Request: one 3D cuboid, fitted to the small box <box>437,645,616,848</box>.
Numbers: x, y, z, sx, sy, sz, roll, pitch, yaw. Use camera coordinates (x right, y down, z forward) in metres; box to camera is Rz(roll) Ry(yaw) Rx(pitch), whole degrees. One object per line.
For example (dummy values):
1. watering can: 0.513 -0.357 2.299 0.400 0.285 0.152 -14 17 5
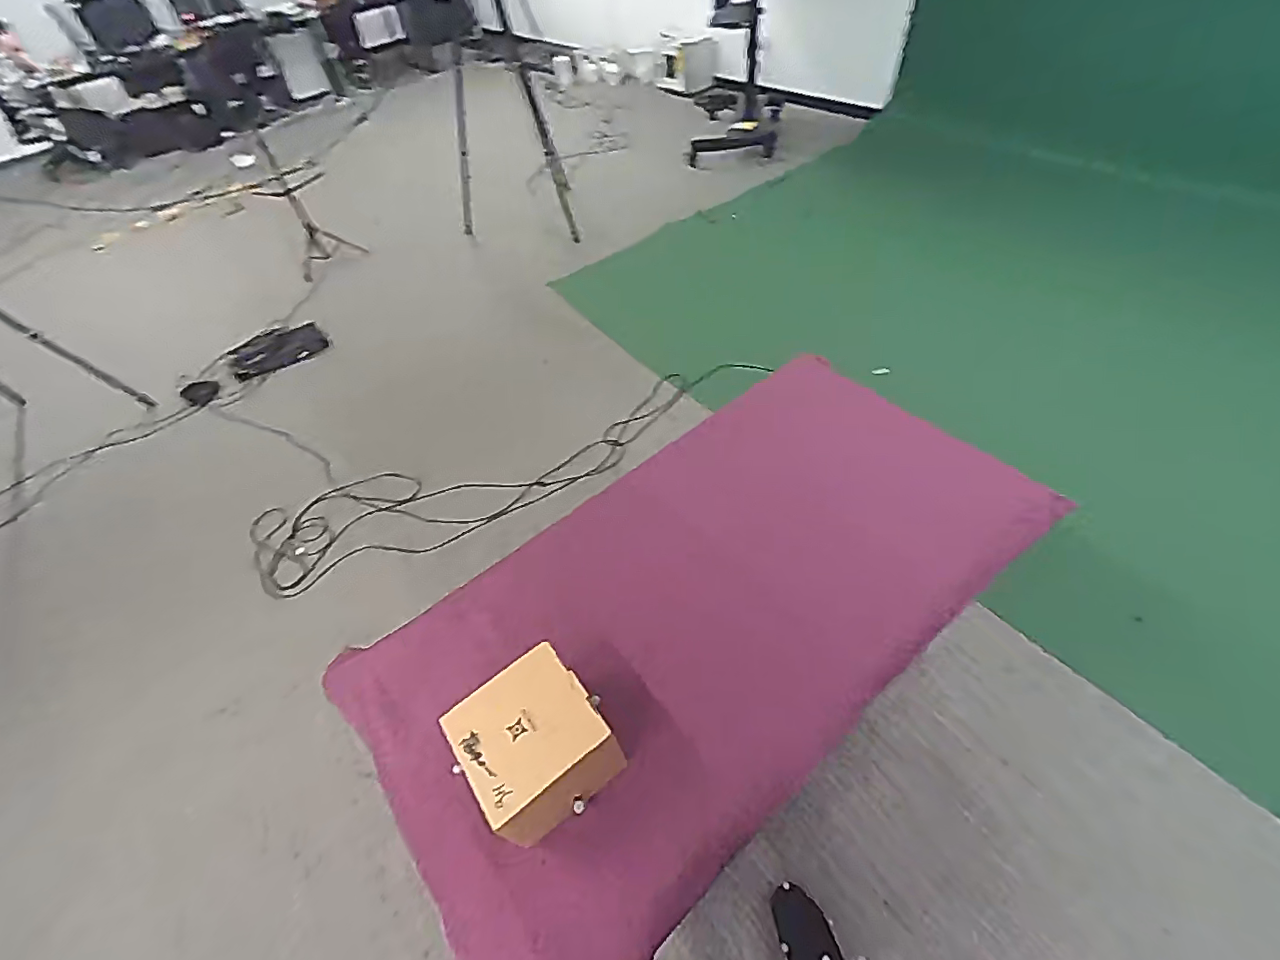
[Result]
1. small box: -0.147 0.374 0.758 0.179 0.176 0.168 -33 54 -20
